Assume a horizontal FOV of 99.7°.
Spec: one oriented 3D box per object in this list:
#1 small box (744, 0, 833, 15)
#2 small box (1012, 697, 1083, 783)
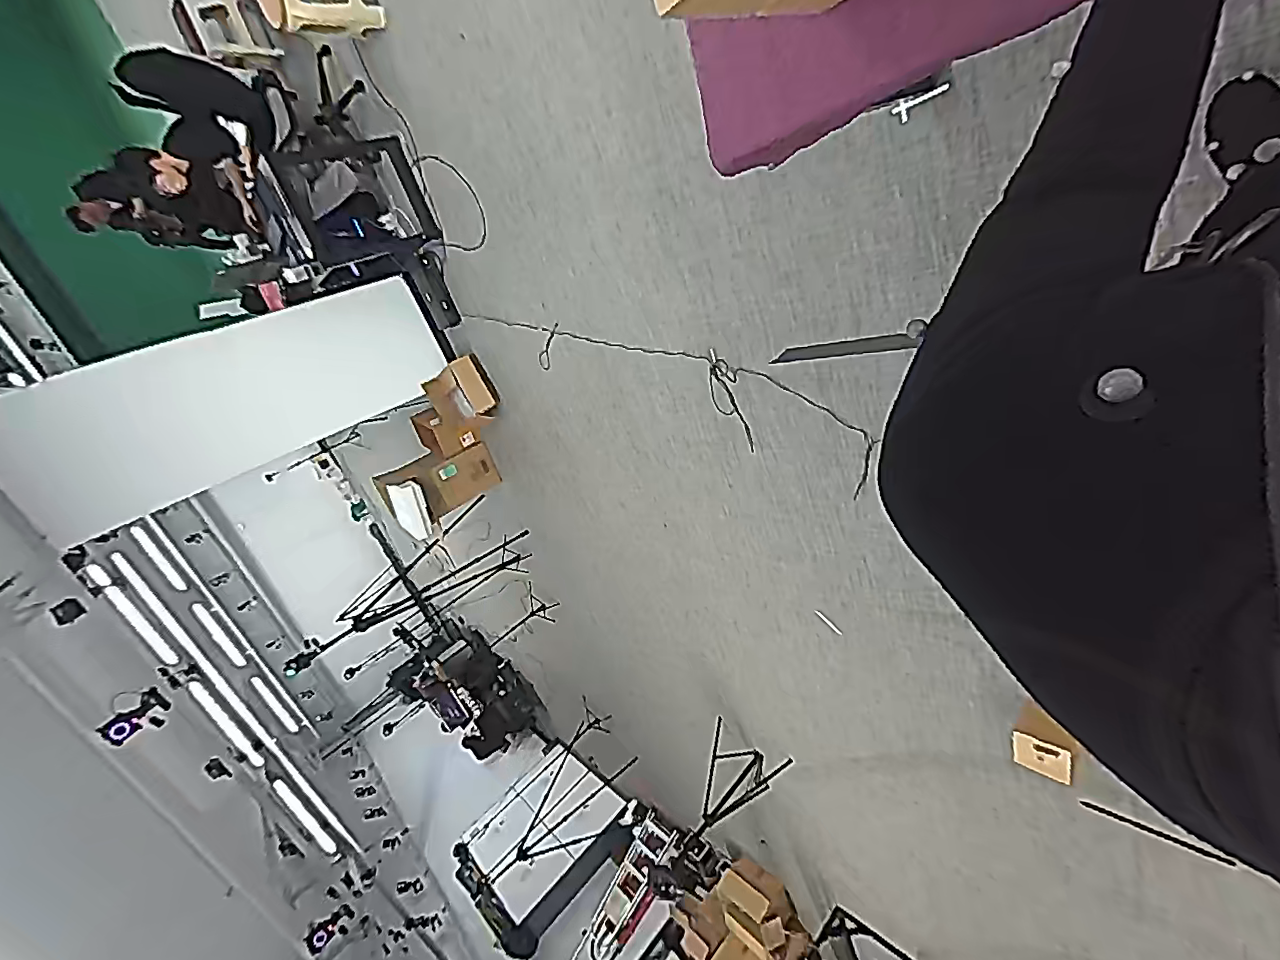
[{"bbox_3d":[0.220,-0.676,0.617,0.179,0.176,0.168,9,126,49],"label":"small box"},{"bbox_3d":[1.423,0.901,1.890,0.168,0.176,0.179,11,129,49],"label":"small box"}]
